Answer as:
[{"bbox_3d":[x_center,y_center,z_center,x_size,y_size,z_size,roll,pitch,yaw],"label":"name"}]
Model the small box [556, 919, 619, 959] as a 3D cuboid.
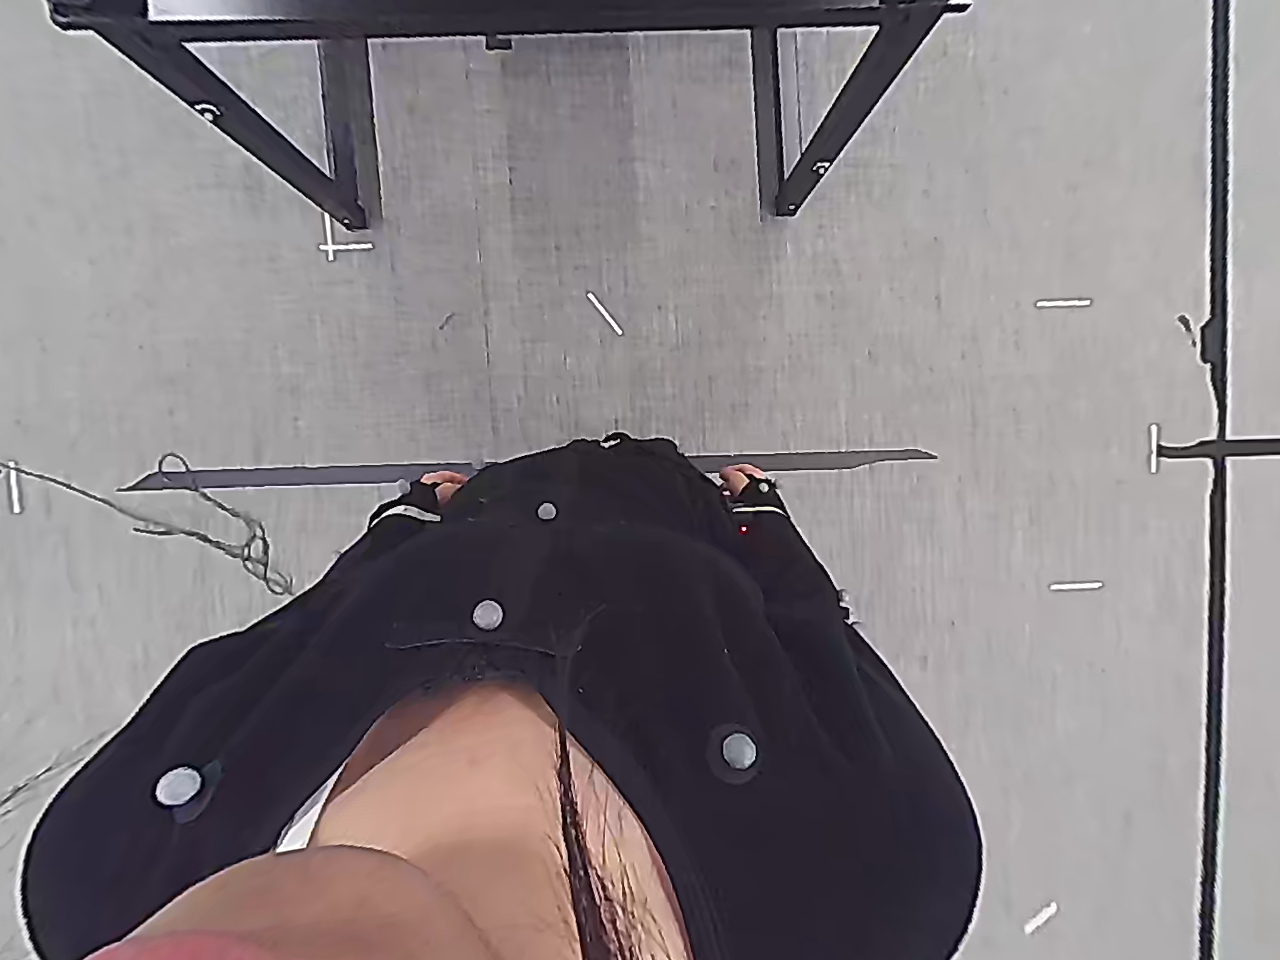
[{"bbox_3d":[-0.142,1.349,1.482,0.168,0.176,0.179,-5,95,-2],"label":"small box"}]
